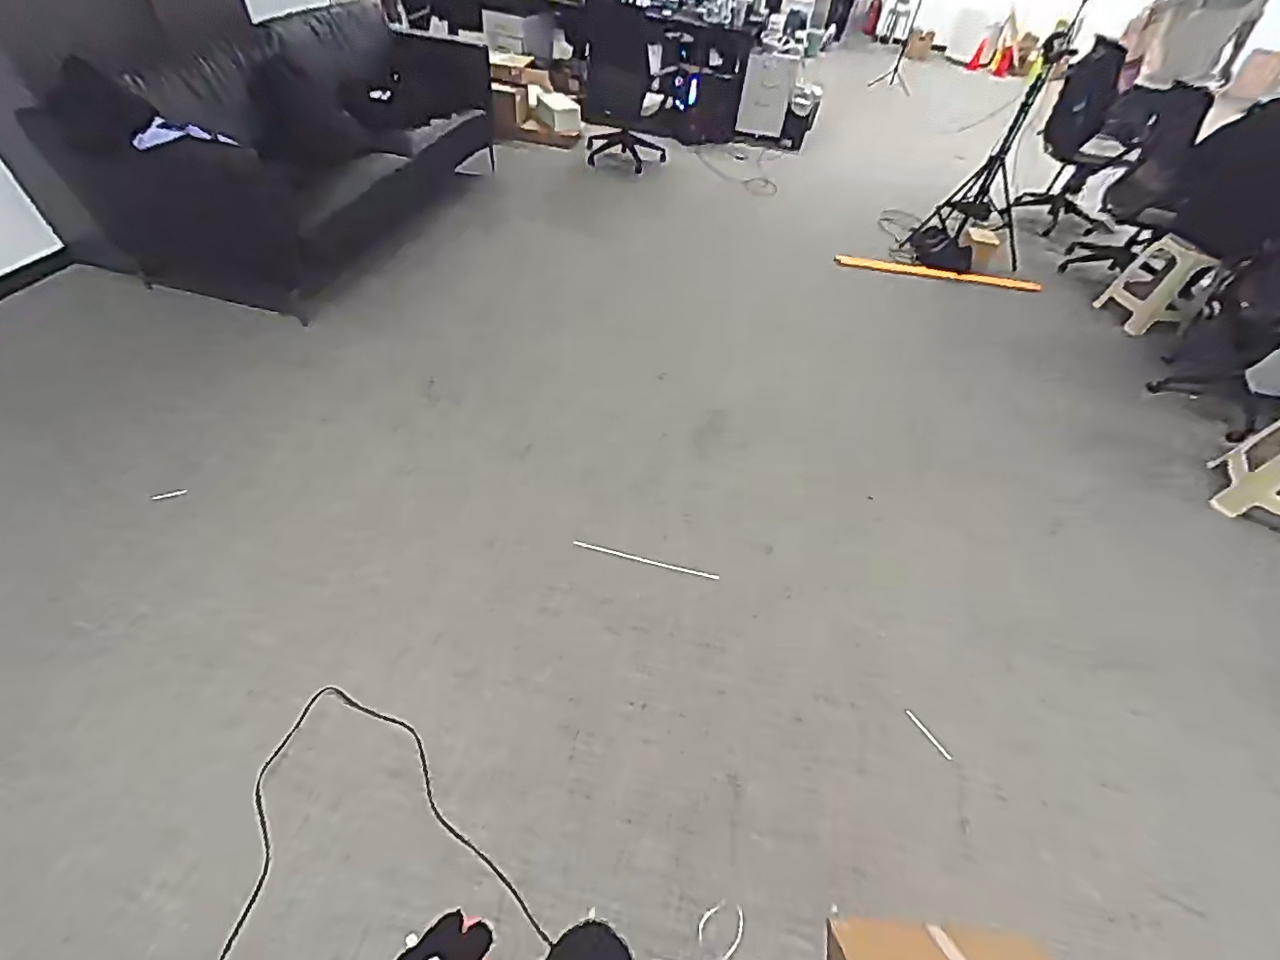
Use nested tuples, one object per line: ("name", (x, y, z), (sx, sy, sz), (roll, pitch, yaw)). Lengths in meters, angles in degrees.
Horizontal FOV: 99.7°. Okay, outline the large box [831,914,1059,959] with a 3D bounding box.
("large box", (0.440, 0.810, 0.626), (0.320, 0.408, 0.320), (4, 83, 2))
